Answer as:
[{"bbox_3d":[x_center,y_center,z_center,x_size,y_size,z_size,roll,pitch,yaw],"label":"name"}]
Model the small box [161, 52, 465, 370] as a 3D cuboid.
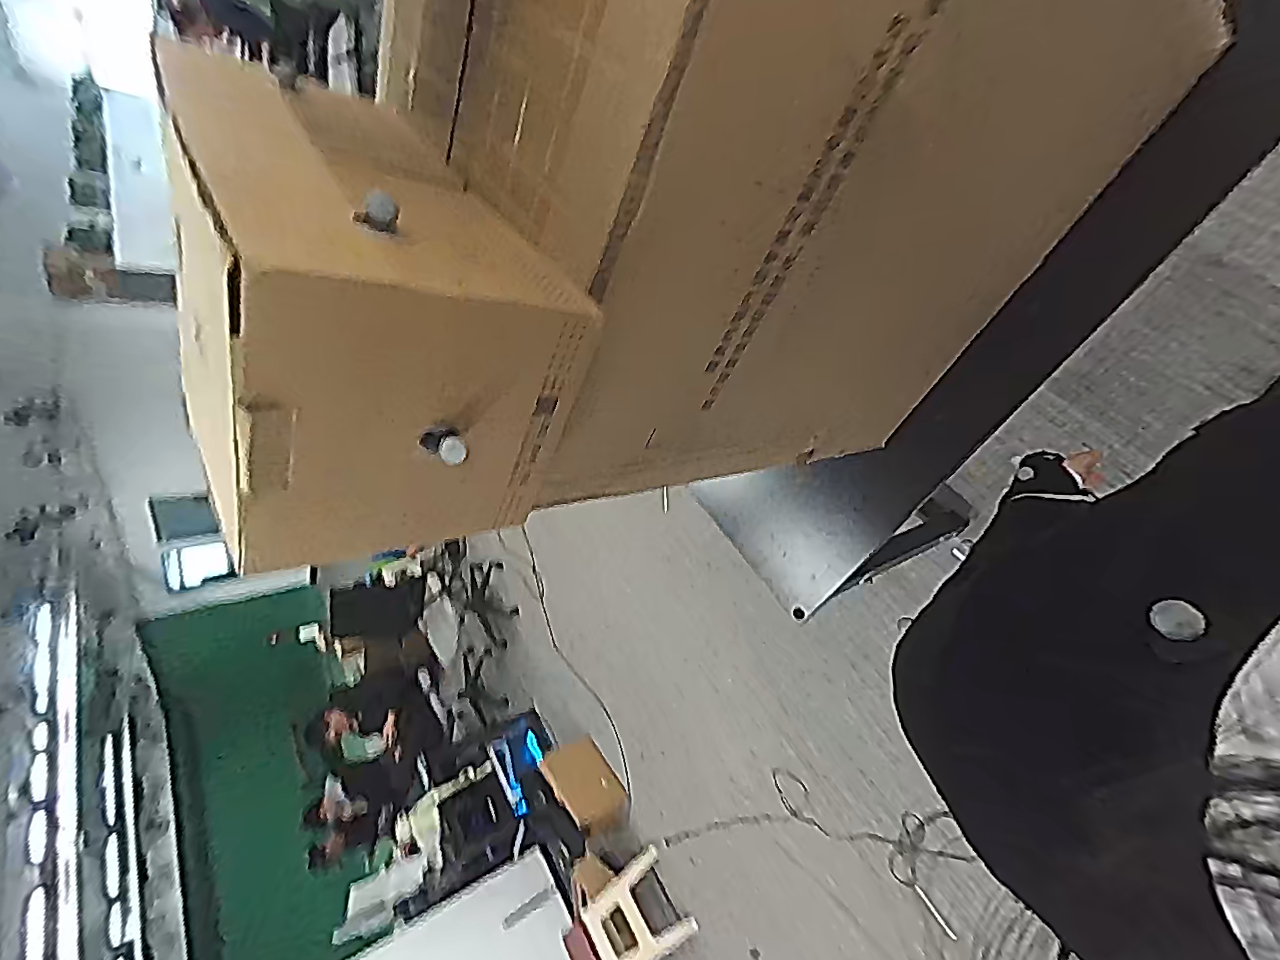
[{"bbox_3d":[-0.263,-0.201,0.438,0.179,0.176,0.168,52,133,32],"label":"small box"}]
